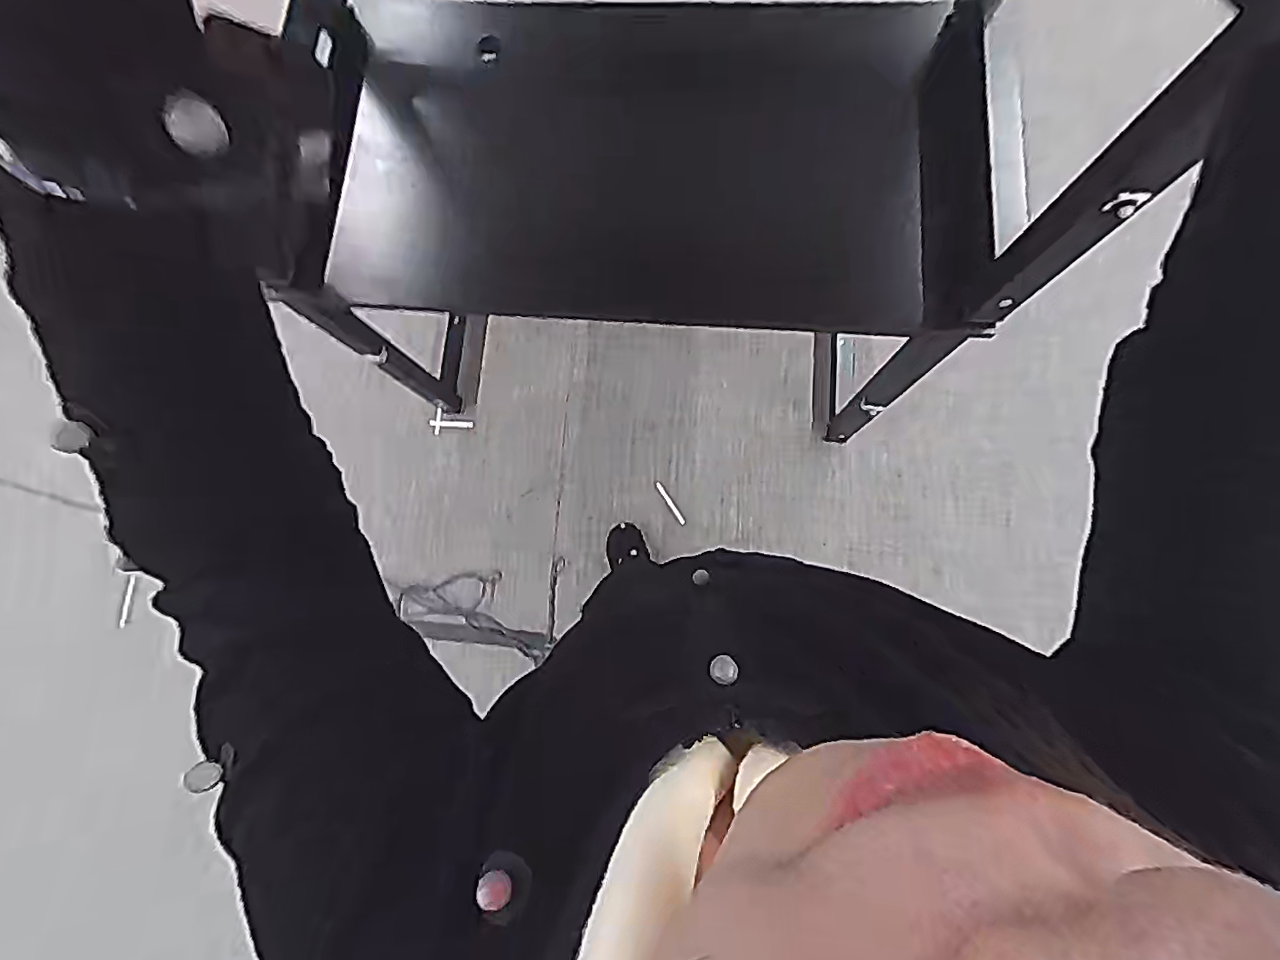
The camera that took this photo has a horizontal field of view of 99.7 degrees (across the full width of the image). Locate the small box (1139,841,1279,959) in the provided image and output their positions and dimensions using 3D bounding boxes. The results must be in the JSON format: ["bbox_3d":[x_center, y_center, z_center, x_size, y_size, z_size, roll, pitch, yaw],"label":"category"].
[{"bbox_3d":[1.282,0.951,1.217,0.179,0.176,0.168,10,82,5],"label":"small box"}]
